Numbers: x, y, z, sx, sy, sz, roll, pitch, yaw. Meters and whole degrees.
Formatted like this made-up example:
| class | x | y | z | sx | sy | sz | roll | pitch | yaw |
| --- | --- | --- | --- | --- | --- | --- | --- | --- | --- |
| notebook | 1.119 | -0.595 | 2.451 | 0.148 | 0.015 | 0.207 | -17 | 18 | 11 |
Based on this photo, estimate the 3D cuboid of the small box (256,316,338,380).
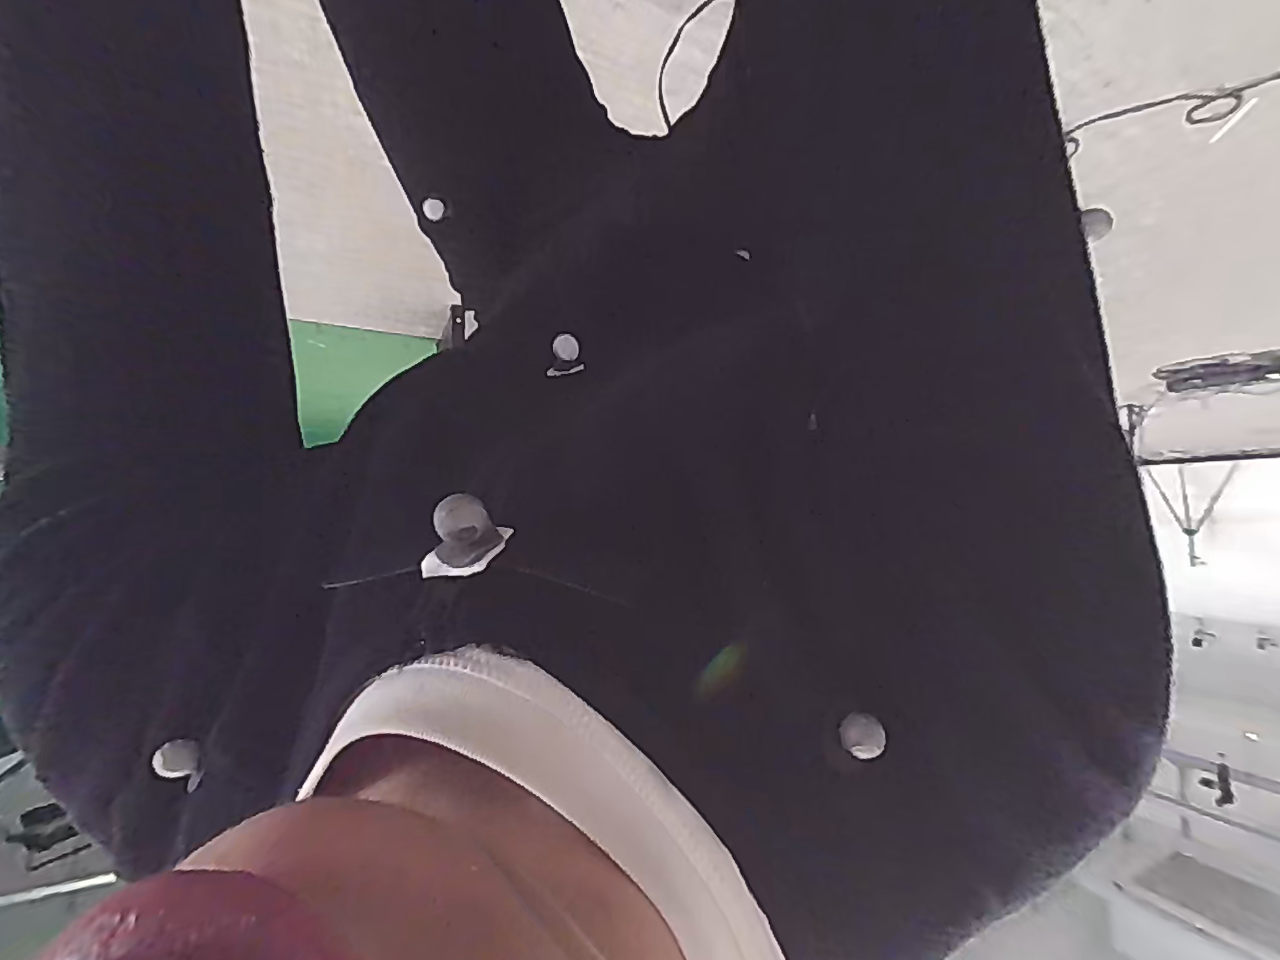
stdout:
| class | x | y | z | sx | sy | sz | roll | pitch | yaw |
| --- | --- | --- | --- | --- | --- | --- | --- | --- | --- |
| small box | -1.324 | -0.506 | 2.098 | 0.179 | 0.176 | 0.168 | -48 | 10 | 7 |
